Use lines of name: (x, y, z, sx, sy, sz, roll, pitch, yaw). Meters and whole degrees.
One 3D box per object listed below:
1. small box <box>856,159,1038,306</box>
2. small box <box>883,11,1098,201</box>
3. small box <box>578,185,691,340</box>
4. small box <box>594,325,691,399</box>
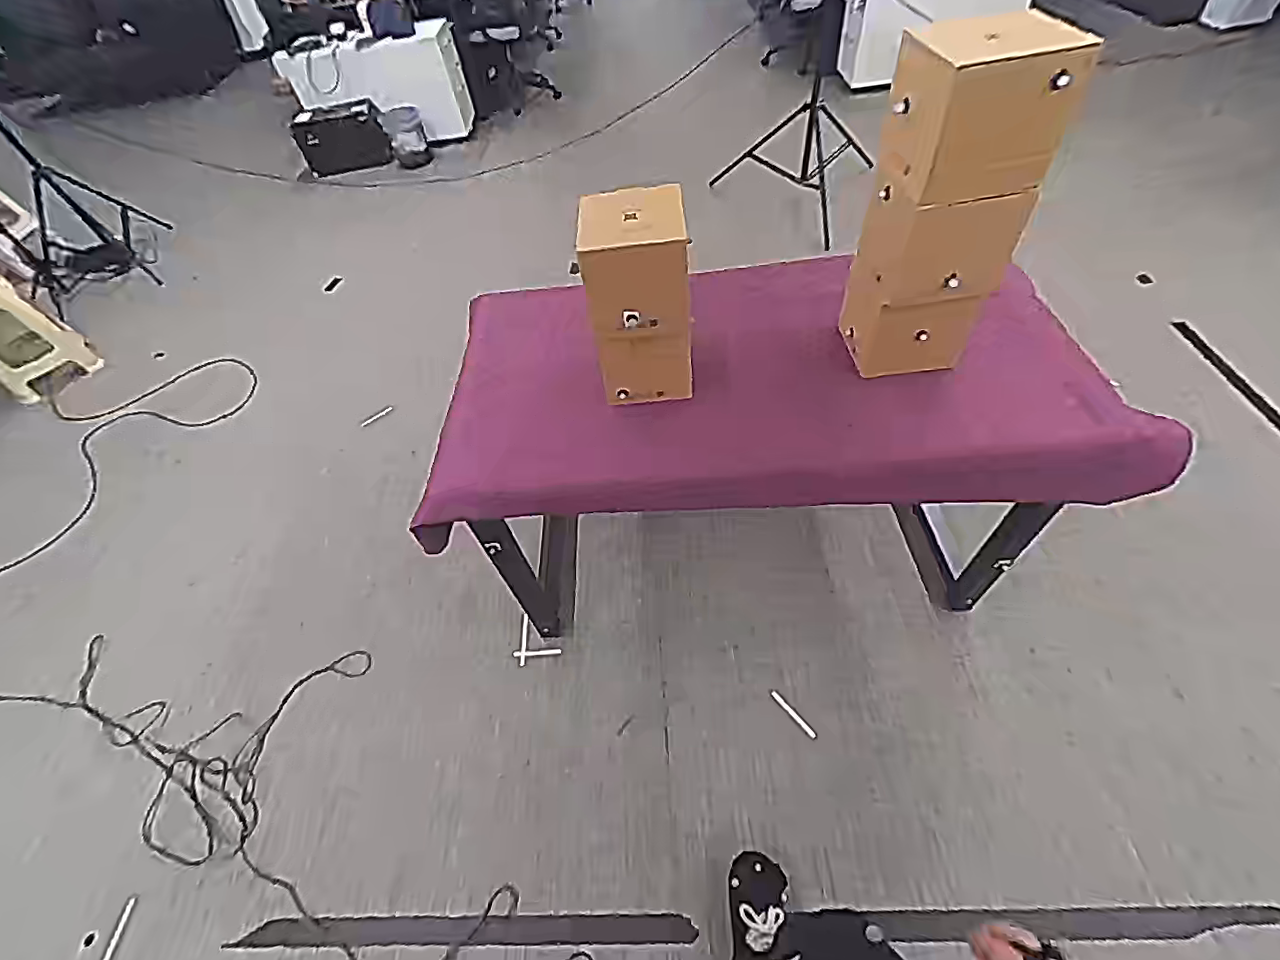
small box: (0.476, -0.405, 0.872, 0.179, 0.176, 0.168, -8, 52, 1)
small box: (0.457, -0.510, 0.748, 0.179, 0.176, 0.168, -9, 52, 1)
small box: (-0.005, -0.358, 0.899, 0.168, 0.176, 0.179, -6, 53, 4)
small box: (0.009, -0.269, 1.035, 0.168, 0.176, 0.179, -5, 52, 3)
